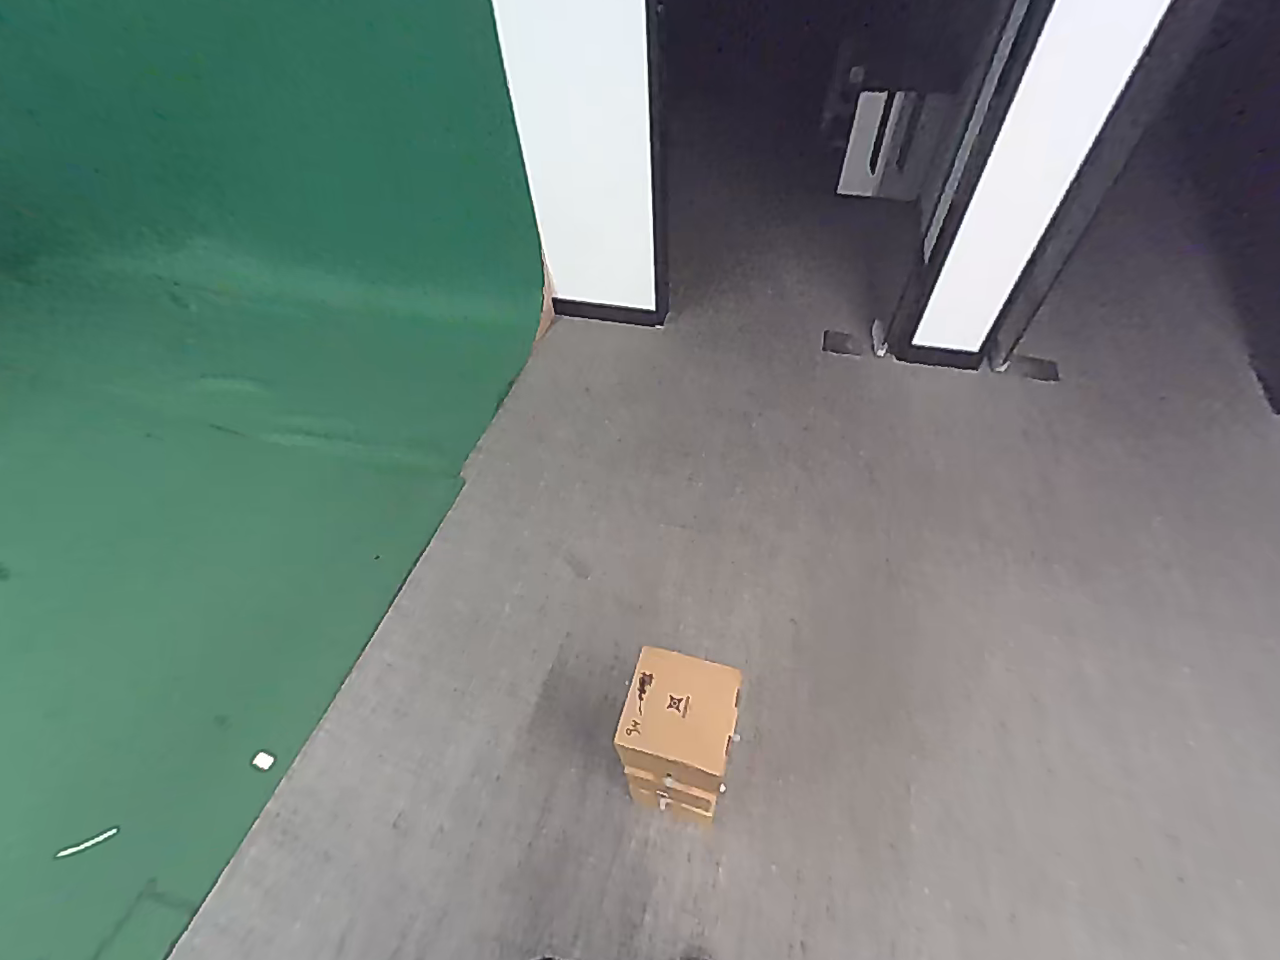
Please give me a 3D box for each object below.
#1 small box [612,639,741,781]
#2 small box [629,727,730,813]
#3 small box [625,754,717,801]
[{"bbox_3d":[0.068,0.404,0.938,0.179,0.176,0.168,11,55,14],"label":"small box"},{"bbox_3d":[0.089,0.610,1.189,0.179,0.176,0.168,13,55,14],"label":"small box"},{"bbox_3d":[0.080,0.506,1.065,0.168,0.176,0.179,10,56,14],"label":"small box"}]
